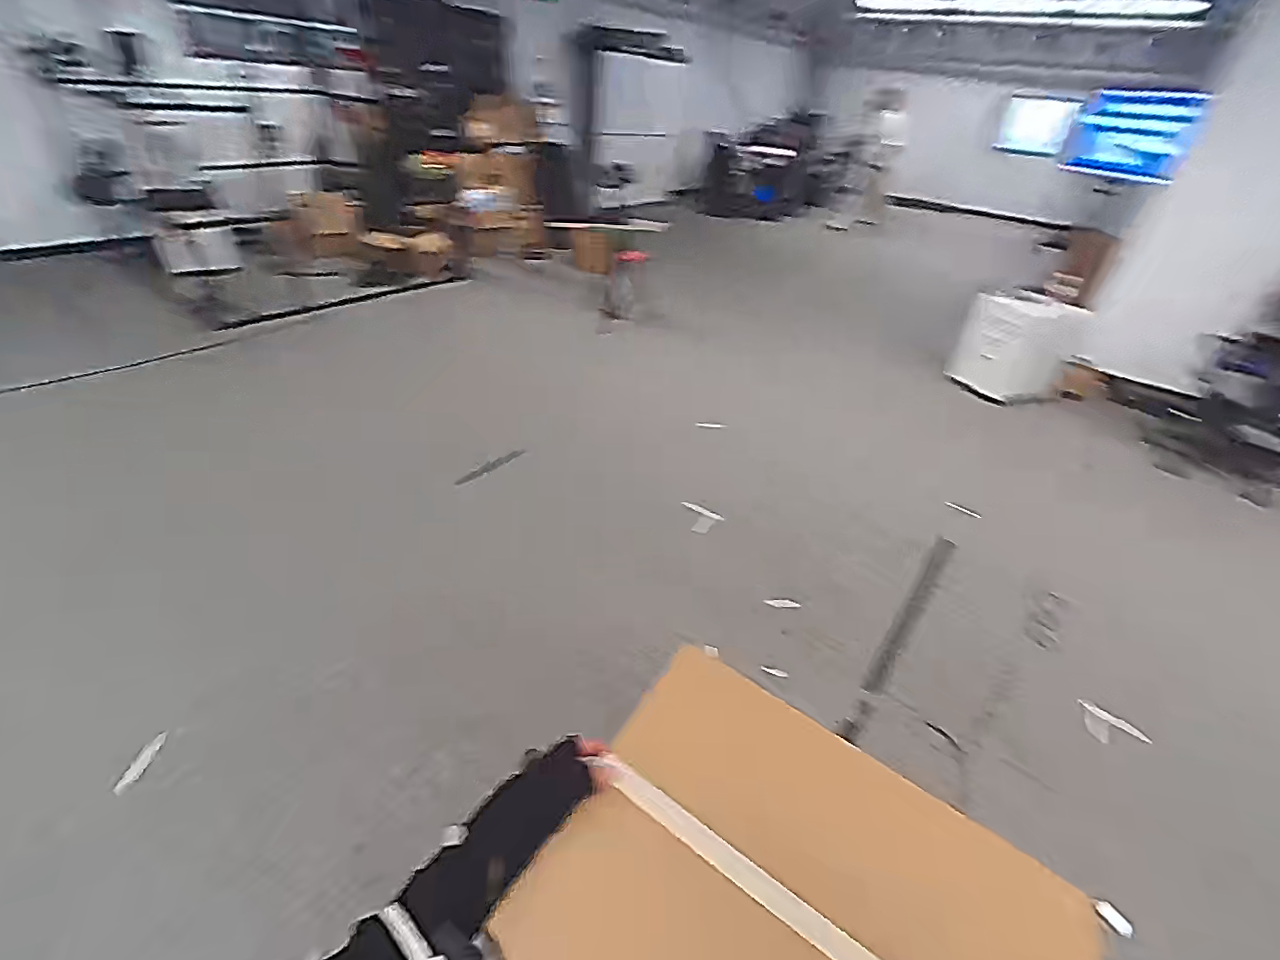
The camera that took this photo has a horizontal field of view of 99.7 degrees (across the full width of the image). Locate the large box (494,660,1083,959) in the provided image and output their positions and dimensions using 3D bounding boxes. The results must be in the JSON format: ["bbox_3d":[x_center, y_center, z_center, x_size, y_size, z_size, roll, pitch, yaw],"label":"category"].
[{"bbox_3d":[0.119,0.471,0.542,0.408,0.320,0.320,28,48,23],"label":"large box"}]
